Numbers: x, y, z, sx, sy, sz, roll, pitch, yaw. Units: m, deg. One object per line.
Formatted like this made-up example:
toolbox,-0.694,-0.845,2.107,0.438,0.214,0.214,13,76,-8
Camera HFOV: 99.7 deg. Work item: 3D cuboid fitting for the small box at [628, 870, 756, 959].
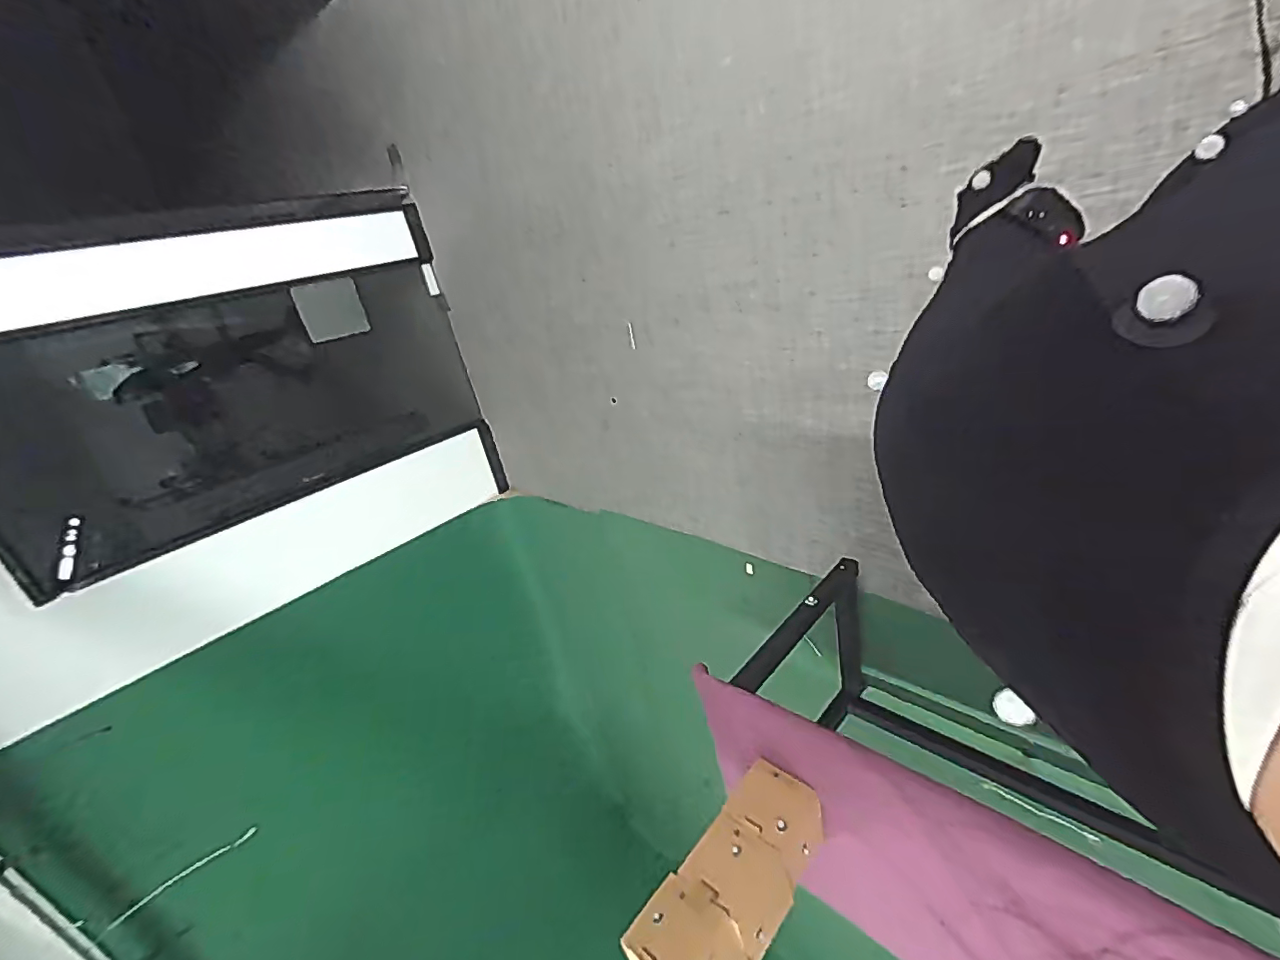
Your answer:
small box,0.111,0.967,1.117,0.168,0.176,0.179,-6,112,51

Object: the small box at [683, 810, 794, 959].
small box,0.226,0.897,1.209,0.168,0.176,0.179,8,122,45
